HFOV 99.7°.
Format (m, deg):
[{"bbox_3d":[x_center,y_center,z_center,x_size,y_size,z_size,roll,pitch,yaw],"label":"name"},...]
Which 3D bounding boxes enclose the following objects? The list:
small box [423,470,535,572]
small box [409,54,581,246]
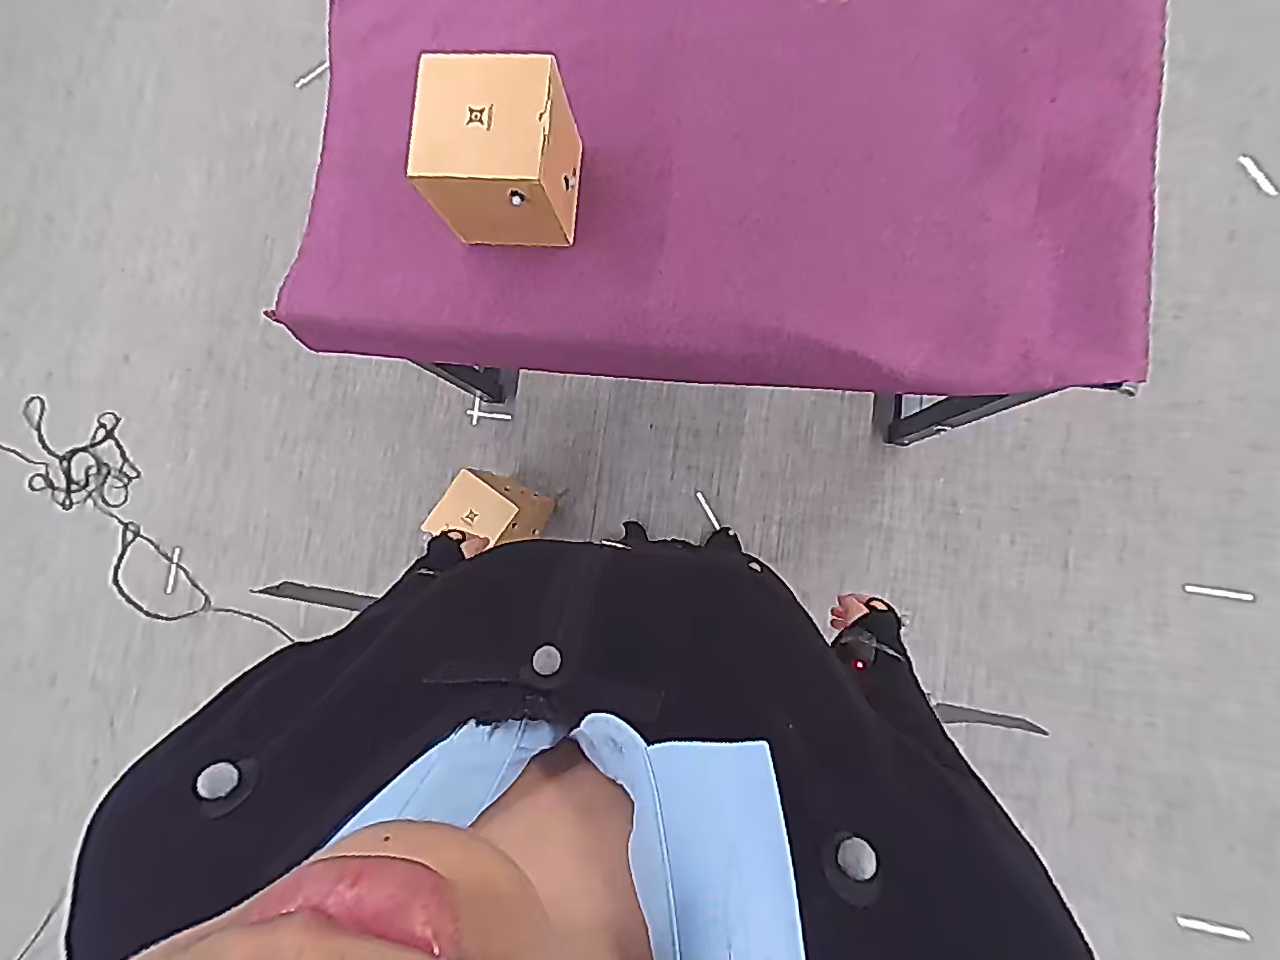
[{"bbox_3d":[-0.374,0.095,1.301,0.168,0.176,0.179,35,91,7],"label":"small box"},{"bbox_3d":[-0.190,-0.445,0.753,0.179,0.176,0.168,4,86,5],"label":"small box"}]
